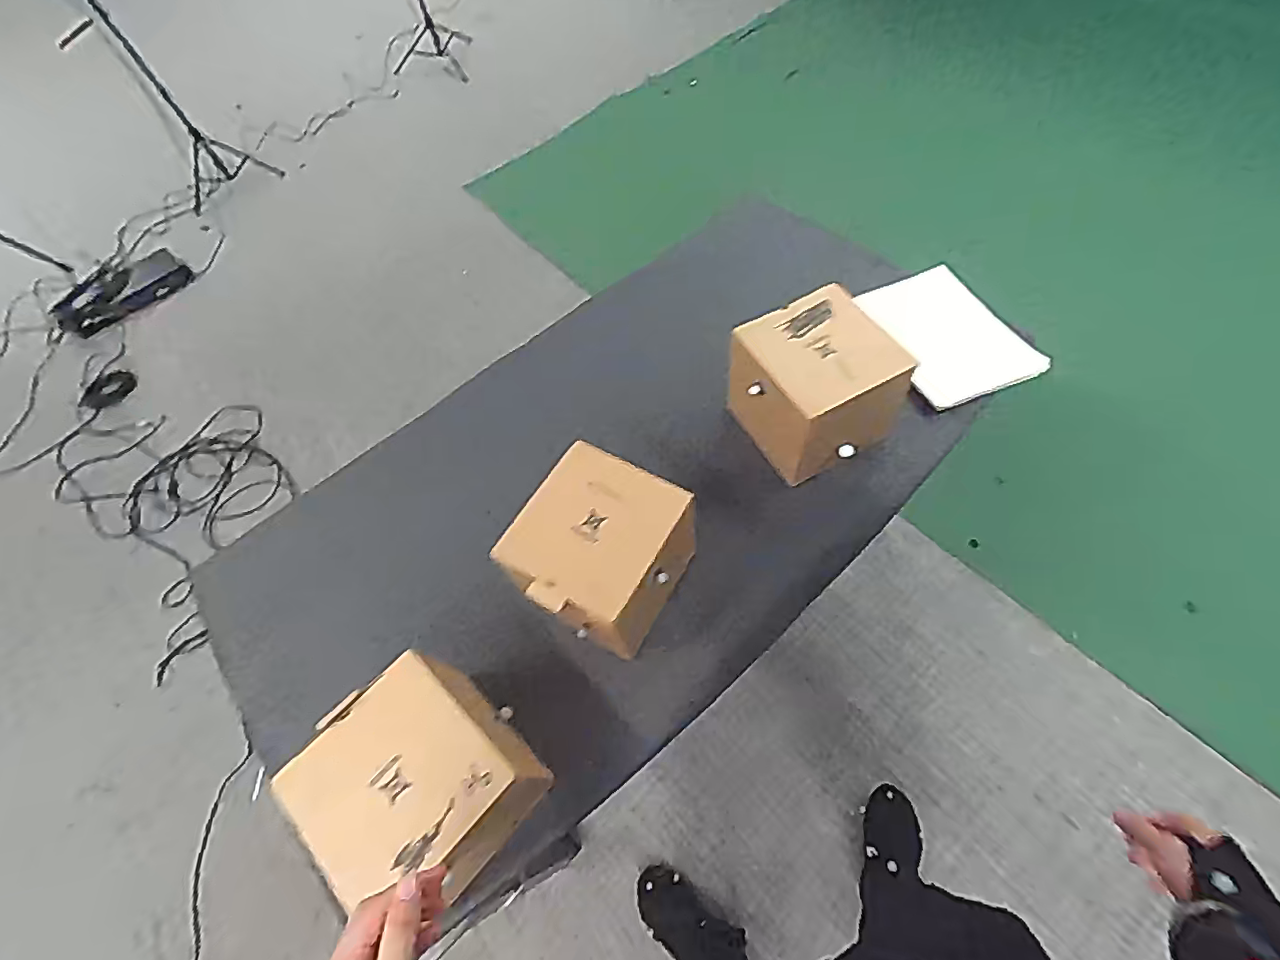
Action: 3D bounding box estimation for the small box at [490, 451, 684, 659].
[{"bbox_3d":[-0.050,0.101,0.683,0.168,0.176,0.179,25,65,19],"label":"small box"}]

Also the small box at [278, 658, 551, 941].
[{"bbox_3d":[-0.223,0.325,0.574,0.179,0.176,0.168,36,70,23],"label":"small box"}]

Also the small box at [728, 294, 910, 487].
[{"bbox_3d":[0.235,-0.122,0.770,0.168,0.176,0.179,-27,61,-8],"label":"small box"}]
